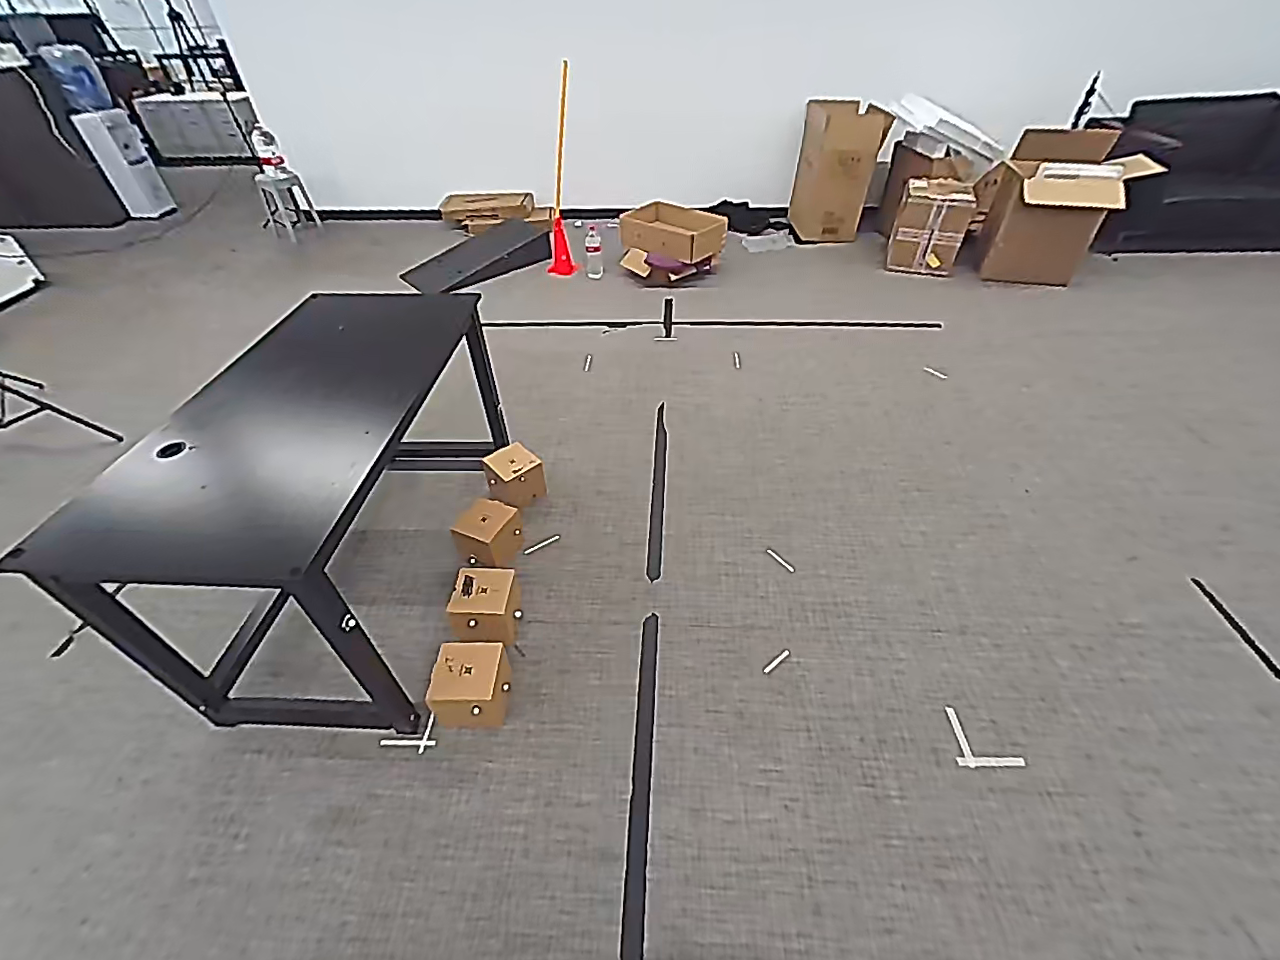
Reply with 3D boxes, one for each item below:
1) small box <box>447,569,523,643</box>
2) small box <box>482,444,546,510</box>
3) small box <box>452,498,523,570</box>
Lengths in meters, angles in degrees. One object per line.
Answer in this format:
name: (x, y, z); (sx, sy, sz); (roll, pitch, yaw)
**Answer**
small box: (-0.482, 0.400, 1.703); (0.179, 0.176, 0.168); (1, 43, 1)
small box: (-0.495, -0.008, 2.140); (0.168, 0.176, 0.179); (-34, 52, -29)
small box: (-0.533, 0.199, 1.922); (0.168, 0.176, 0.179); (15, 47, 19)
